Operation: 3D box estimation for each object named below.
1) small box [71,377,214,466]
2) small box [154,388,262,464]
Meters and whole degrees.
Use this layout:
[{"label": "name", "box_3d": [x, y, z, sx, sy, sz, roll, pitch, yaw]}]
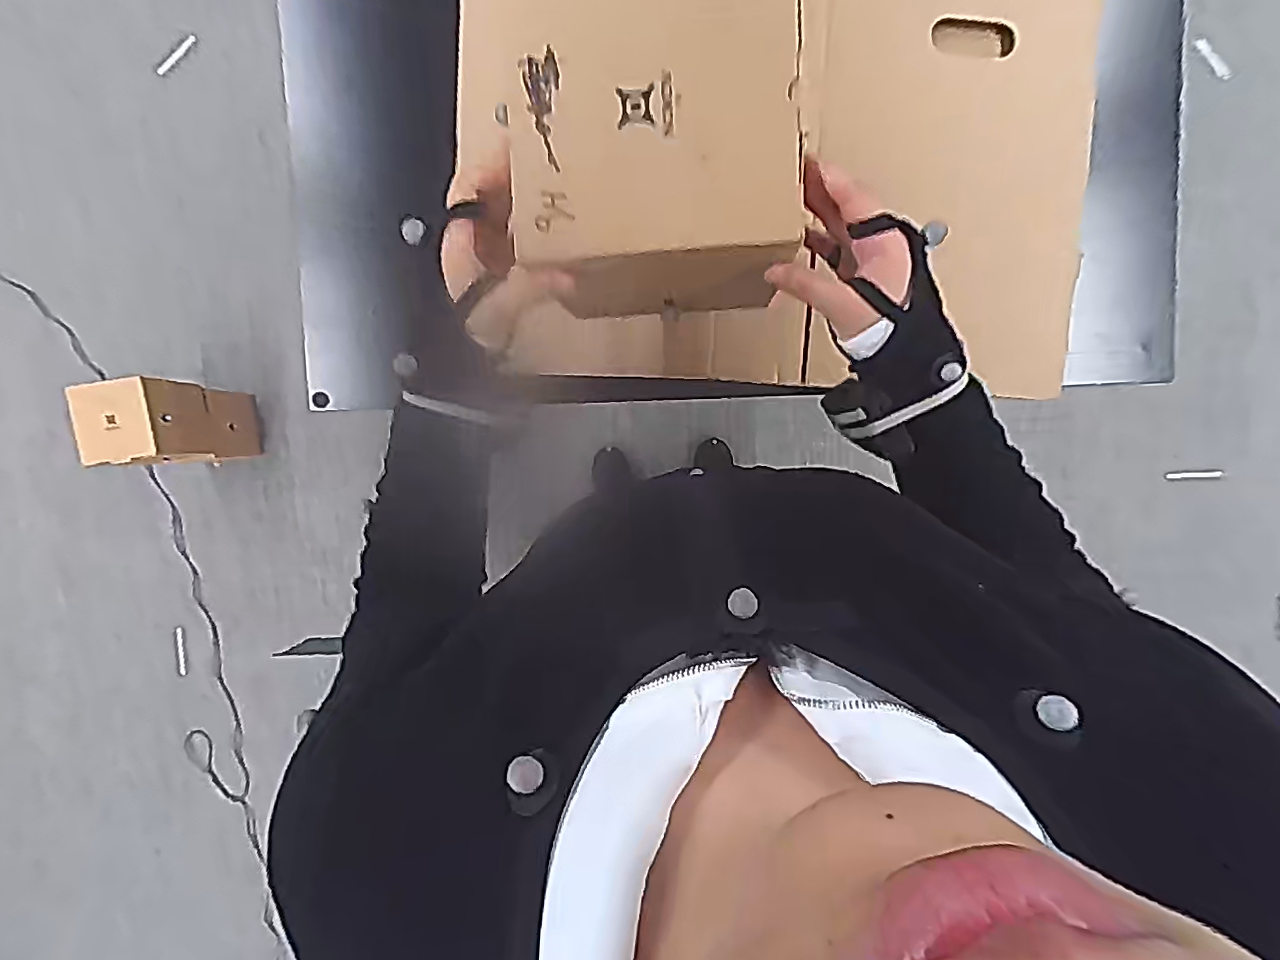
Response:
[{"label": "small box", "box_3d": [-1.133, -0.133, 1.248, 0.168, 0.176, 0.179, -9, 93, 0]}, {"label": "small box", "box_3d": [-1.132, -0.138, 1.411, 0.168, 0.176, 0.179, -6, 95, 1]}]
